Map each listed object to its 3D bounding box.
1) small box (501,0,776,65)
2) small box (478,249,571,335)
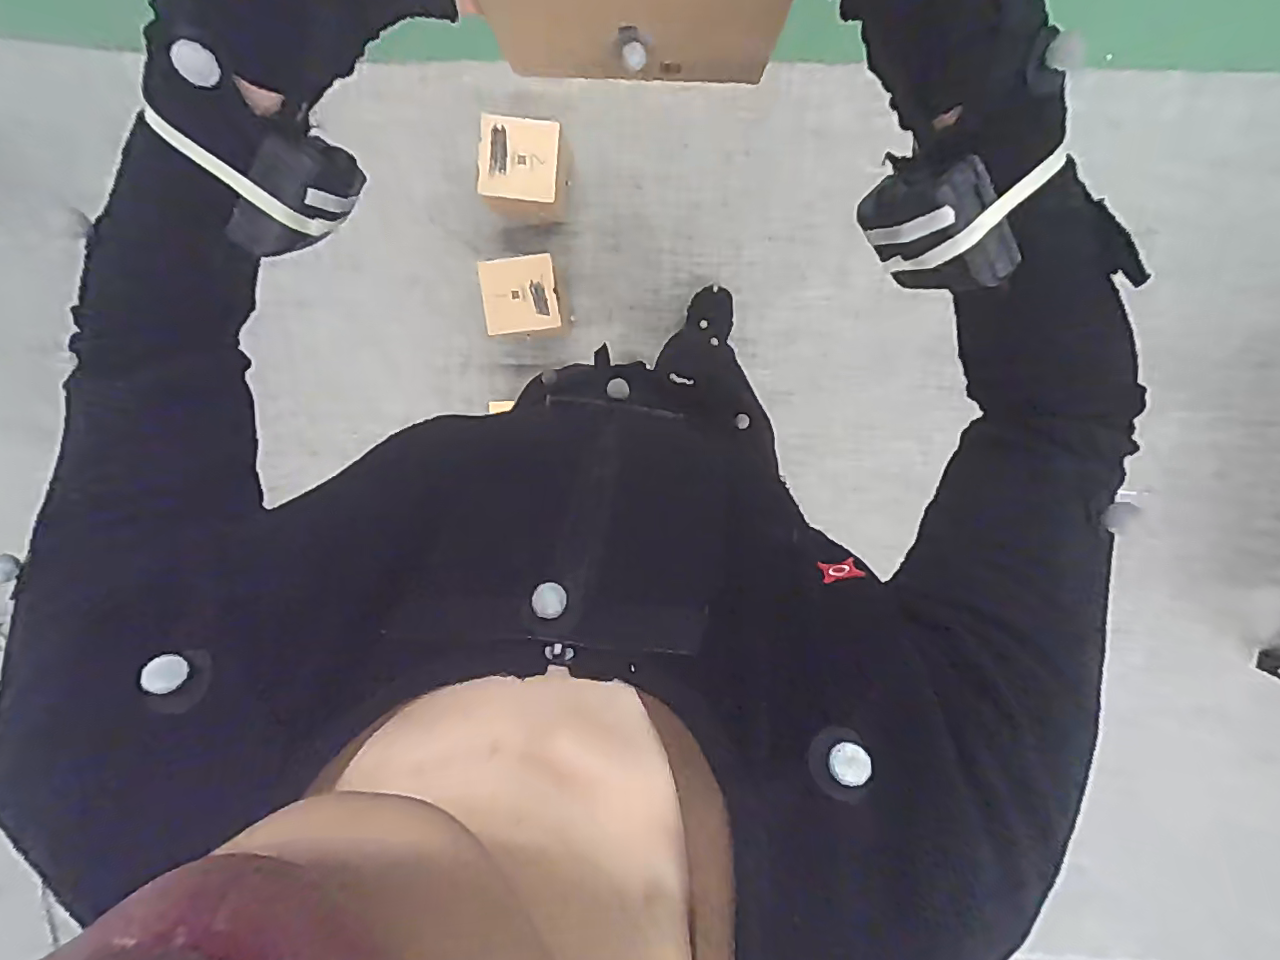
[{"bbox_3d":[-0.003,-0.340,0.253,0.168,0.176,0.179,3,104,2],"label":"small box"},{"bbox_3d":[-0.269,-0.447,1.308,0.179,0.176,0.168,-6,100,4],"label":"small box"}]
